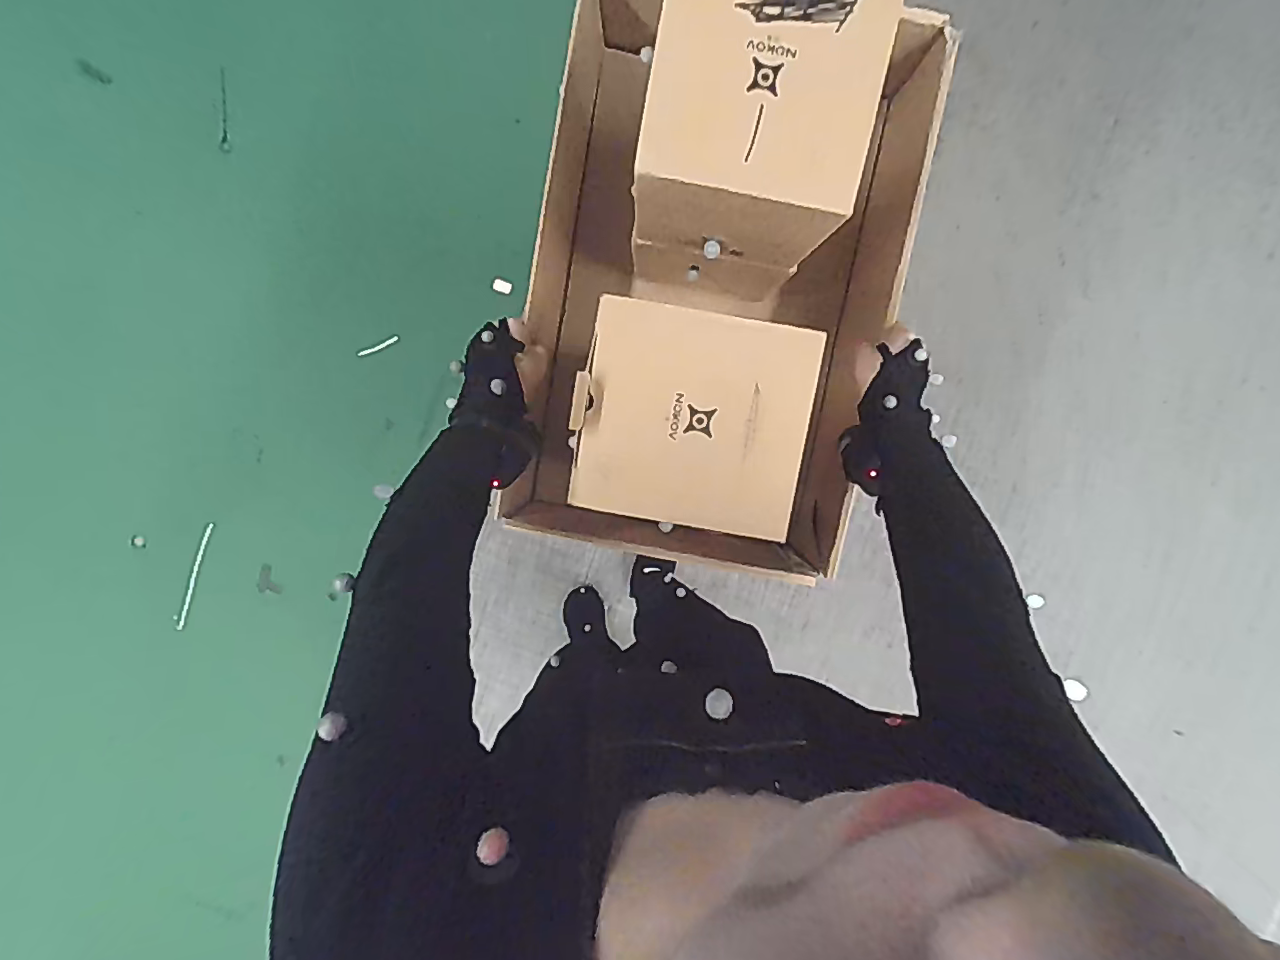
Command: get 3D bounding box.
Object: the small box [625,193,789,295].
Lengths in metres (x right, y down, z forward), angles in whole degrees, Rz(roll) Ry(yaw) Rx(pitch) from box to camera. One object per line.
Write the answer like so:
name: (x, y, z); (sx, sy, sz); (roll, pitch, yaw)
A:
small box: (0.085, -0.325, 0.631); (0.179, 0.176, 0.168); (10, 98, -1)

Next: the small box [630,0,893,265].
small box: (0.086, -0.308, 0.466); (0.168, 0.176, 0.179); (11, 99, -2)

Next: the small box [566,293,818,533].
small box: (0.038, -0.059, 0.501); (0.179, 0.176, 0.168); (9, 98, -2)
